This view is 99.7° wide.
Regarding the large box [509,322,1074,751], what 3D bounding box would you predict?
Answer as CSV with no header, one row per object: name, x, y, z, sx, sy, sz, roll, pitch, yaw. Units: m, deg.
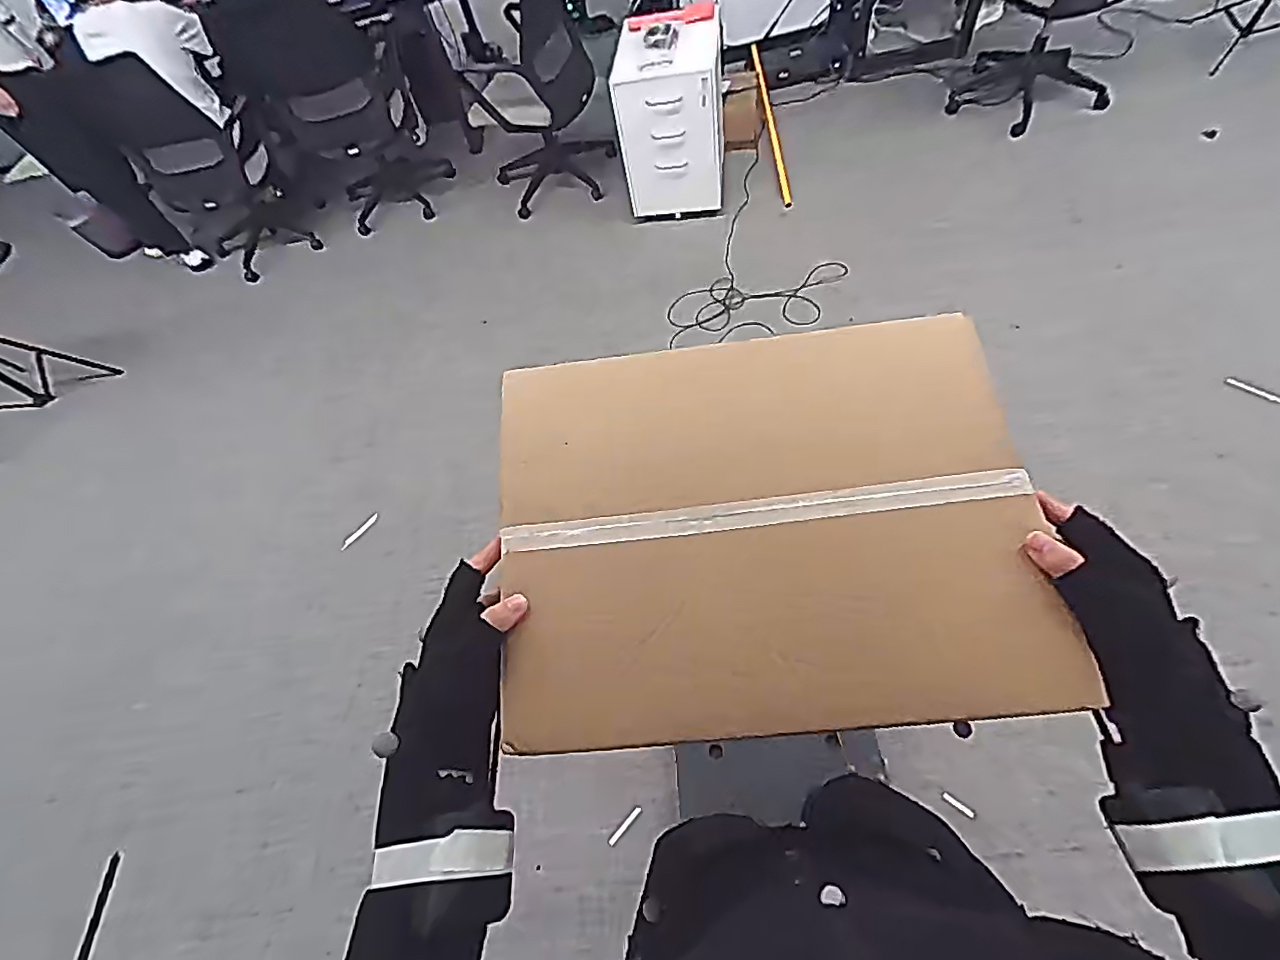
large box,0.108,0.078,0.573,0.408,0.320,0.320,-7,69,4
